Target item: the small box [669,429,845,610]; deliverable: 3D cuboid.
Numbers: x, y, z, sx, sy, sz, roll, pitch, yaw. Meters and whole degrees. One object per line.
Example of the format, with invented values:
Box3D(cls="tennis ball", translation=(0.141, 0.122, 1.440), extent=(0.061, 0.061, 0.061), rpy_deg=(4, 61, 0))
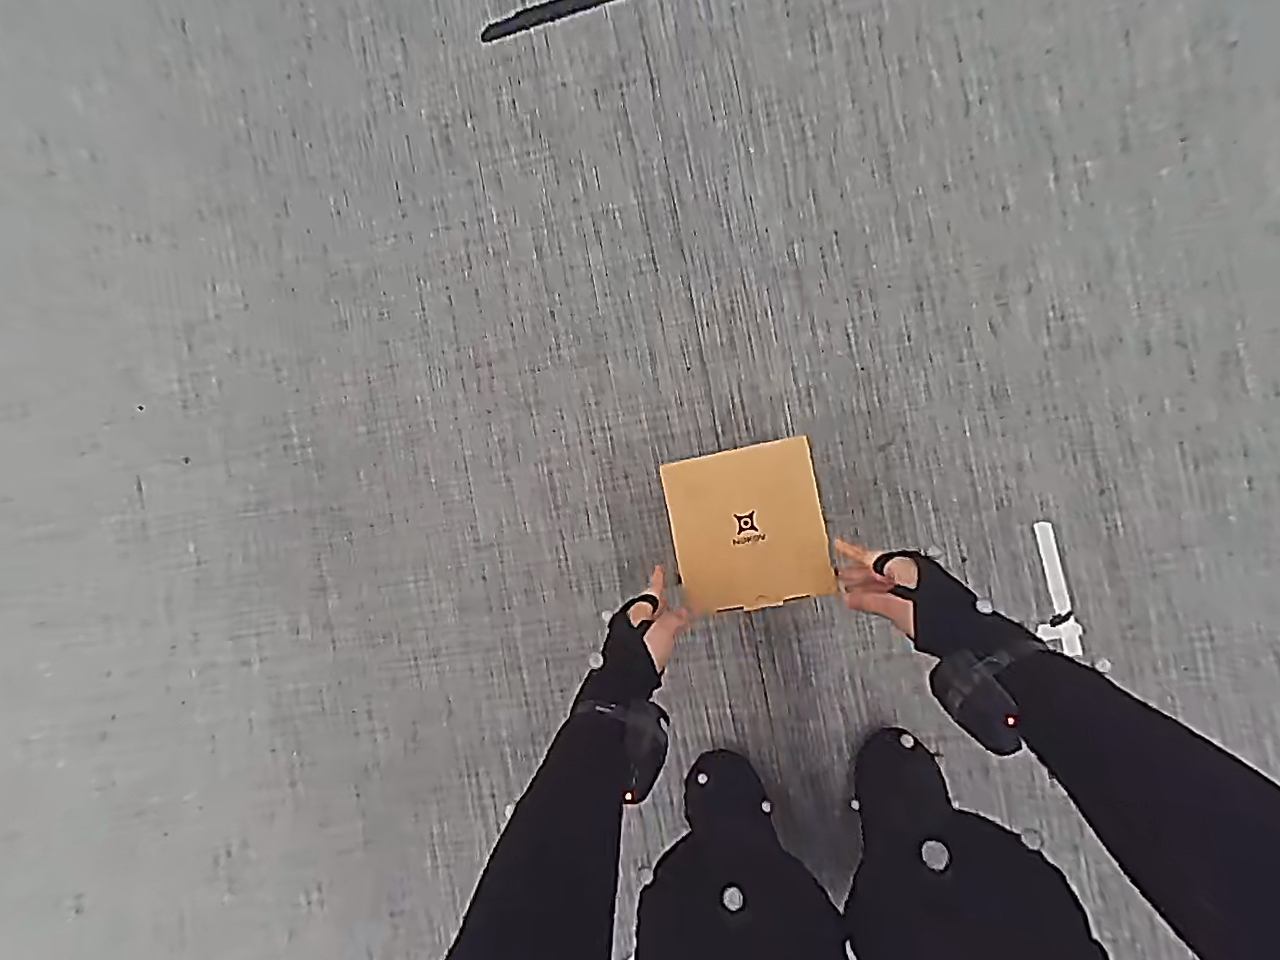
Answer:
Box3D(cls="small box", translation=(0.136, 0.046, 0.671), extent=(0.168, 0.176, 0.179), rpy_deg=(-12, 88, 8))
